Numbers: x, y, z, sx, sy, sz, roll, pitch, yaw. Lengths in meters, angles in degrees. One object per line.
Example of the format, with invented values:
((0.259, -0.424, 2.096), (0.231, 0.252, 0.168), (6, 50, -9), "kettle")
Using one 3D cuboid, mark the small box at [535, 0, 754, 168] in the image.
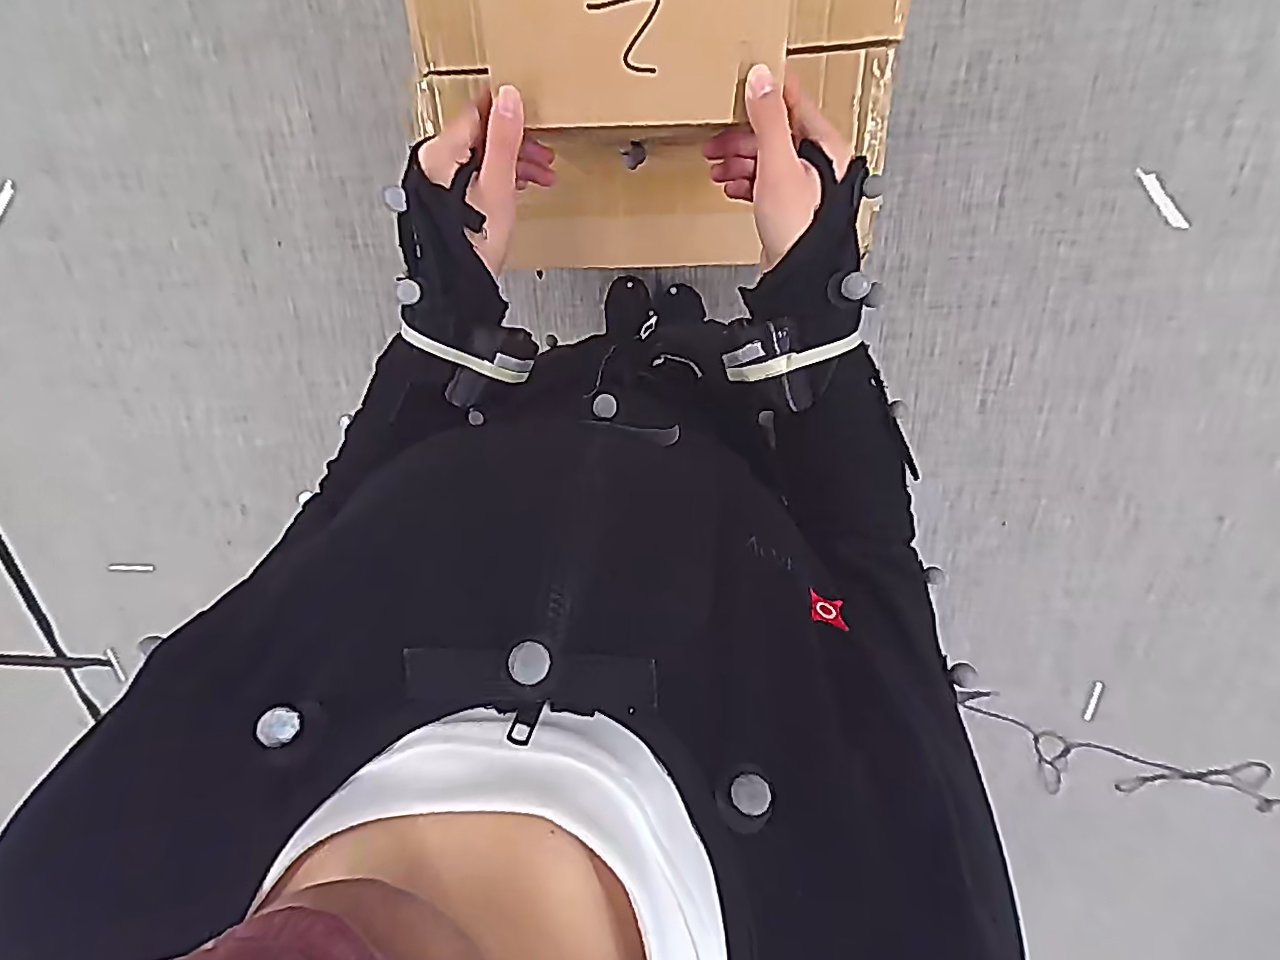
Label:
((0.009, -0.396, 0.503), (0.179, 0.176, 0.168), (1, 113, 4), "small box")
